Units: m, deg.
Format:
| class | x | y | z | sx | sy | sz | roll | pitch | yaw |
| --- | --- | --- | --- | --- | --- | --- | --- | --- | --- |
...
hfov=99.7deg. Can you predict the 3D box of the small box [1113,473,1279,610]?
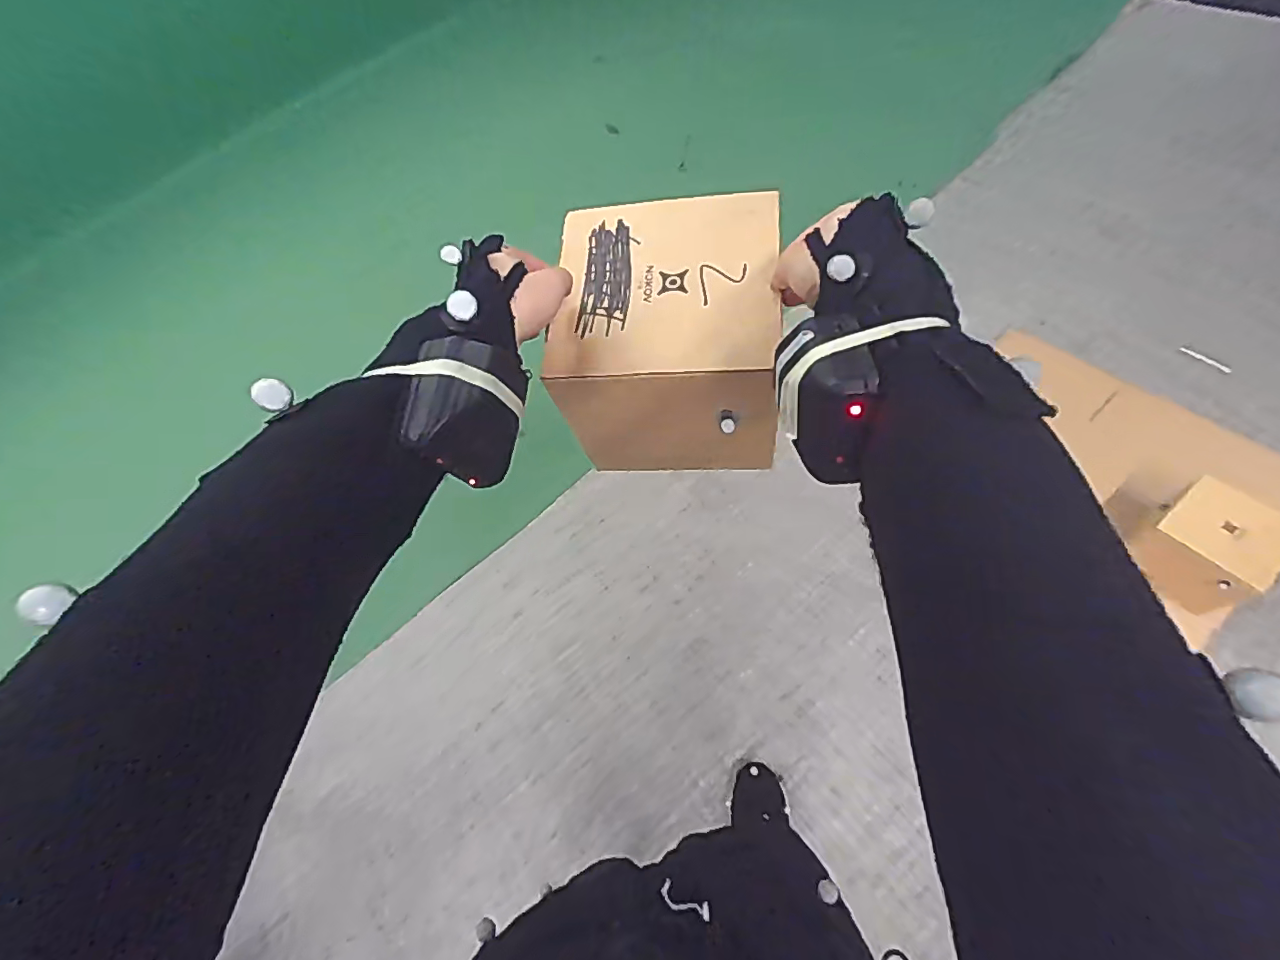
| class | x | y | z | sx | sy | sz | roll | pitch | yaw |
| --- | --- | --- | --- | --- | --- | --- | --- | --- | --- |
| small box | 1.090 | 0.125 | 1.051 | 0.168 | 0.176 | 0.179 | -41 | 62 | -9 |
